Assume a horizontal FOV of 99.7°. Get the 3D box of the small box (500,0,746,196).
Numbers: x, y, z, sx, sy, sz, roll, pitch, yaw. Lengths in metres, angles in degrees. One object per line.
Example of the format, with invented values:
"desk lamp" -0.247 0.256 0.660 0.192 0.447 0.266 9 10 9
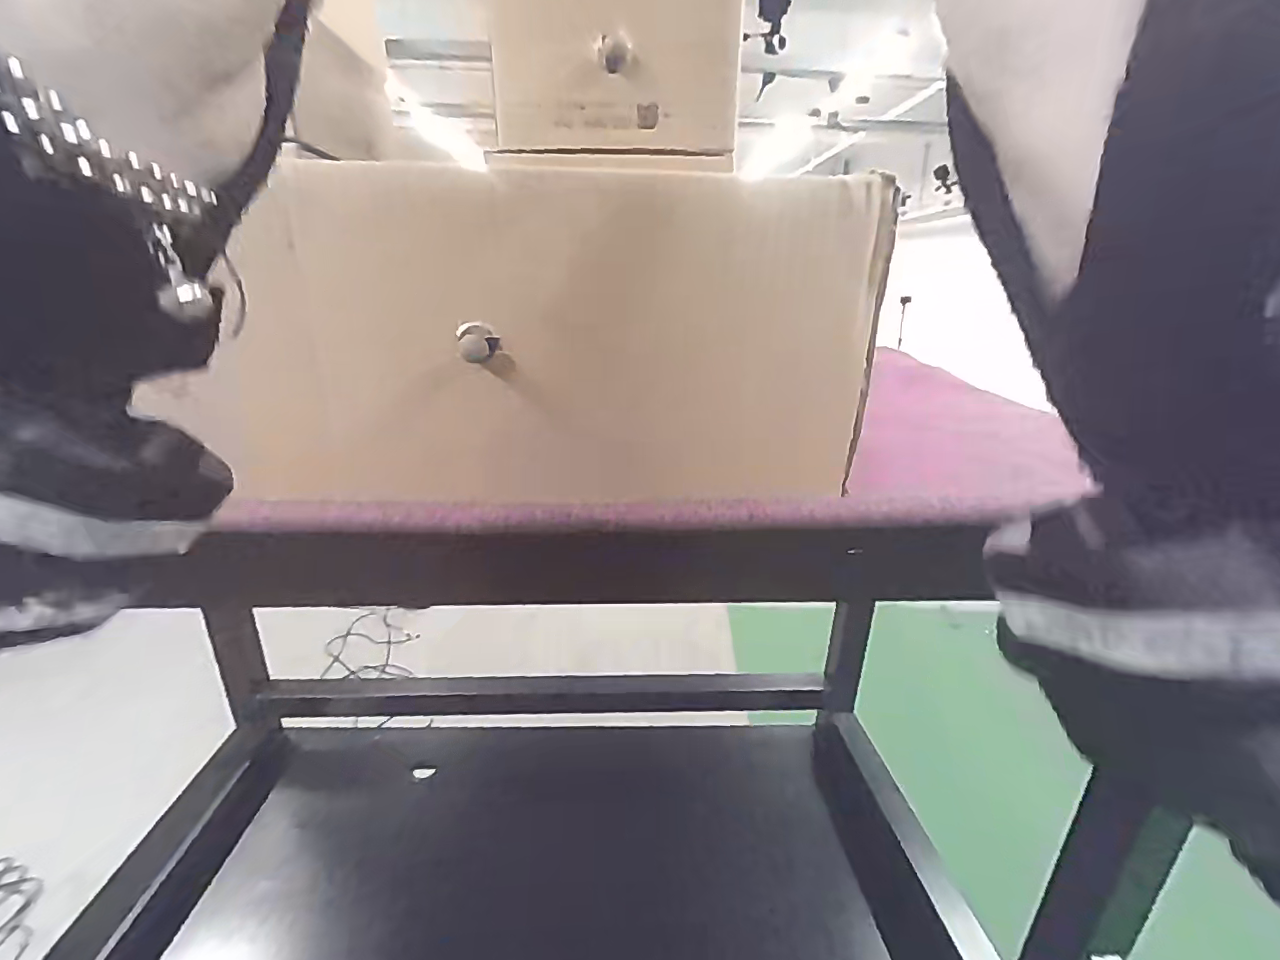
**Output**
"small box" -0.012 -0.329 0.427 0.168 0.176 0.179 0 20 1
